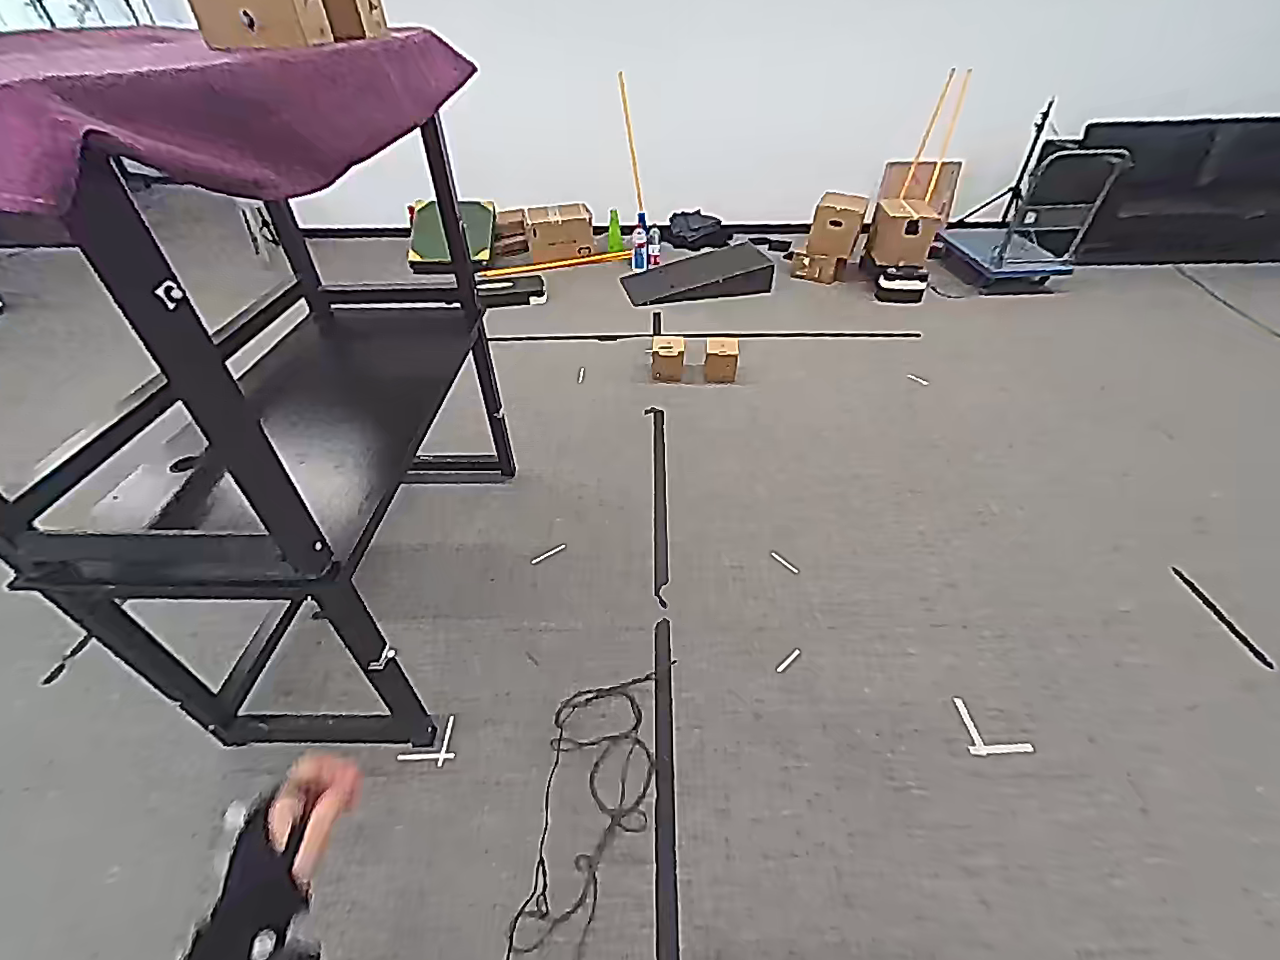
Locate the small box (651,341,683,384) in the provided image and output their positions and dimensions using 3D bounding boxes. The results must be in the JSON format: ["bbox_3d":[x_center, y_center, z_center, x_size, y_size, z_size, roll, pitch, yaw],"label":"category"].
[{"bbox_3d":[0.147,-0.632,2.913,0.168,0.176,0.179,2,40,2],"label":"small box"}]

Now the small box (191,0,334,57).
[{"bbox_3d":[-0.691,-0.884,0.982,0.179,0.176,0.168,-5,41,-5],"label":"small box"}]

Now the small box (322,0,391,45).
[{"bbox_3d":[-0.690,-1.081,1.207,0.179,0.176,0.168,-2,42,-1],"label":"small box"}]

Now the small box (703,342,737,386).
[{"bbox_3d":[0.430,-0.621,2.904,0.168,0.176,0.179,4,41,4],"label":"small box"}]
